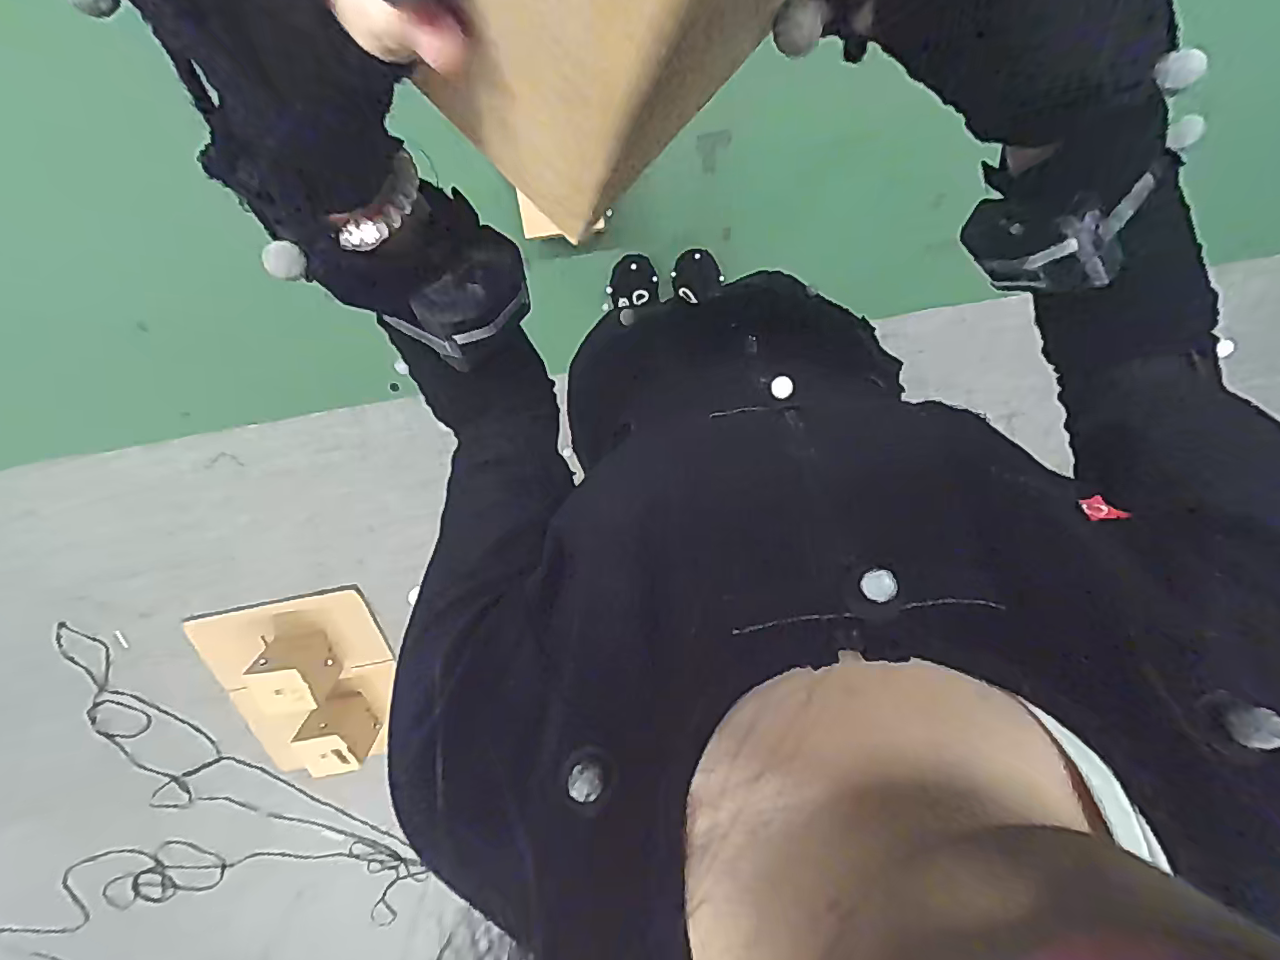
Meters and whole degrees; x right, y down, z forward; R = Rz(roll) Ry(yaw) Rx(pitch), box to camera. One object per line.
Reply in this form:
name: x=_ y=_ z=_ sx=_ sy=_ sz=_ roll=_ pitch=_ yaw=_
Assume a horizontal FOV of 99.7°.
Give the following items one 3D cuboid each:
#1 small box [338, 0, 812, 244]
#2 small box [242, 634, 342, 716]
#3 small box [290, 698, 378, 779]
small box: x=-0.002 y=-0.197 z=0.120 sx=0.168 sy=0.176 sz=0.179 roll=41 pitch=85 yaw=-17
small box: x=-1.082 y=0.607 z=1.697 sx=0.179 sy=0.176 sz=0.168 roll=-8 pitch=114 yaw=2
small box: x=-1.007 y=0.855 z=1.802 sx=0.179 sy=0.176 sz=0.168 roll=-13 pitch=113 yaw=5
